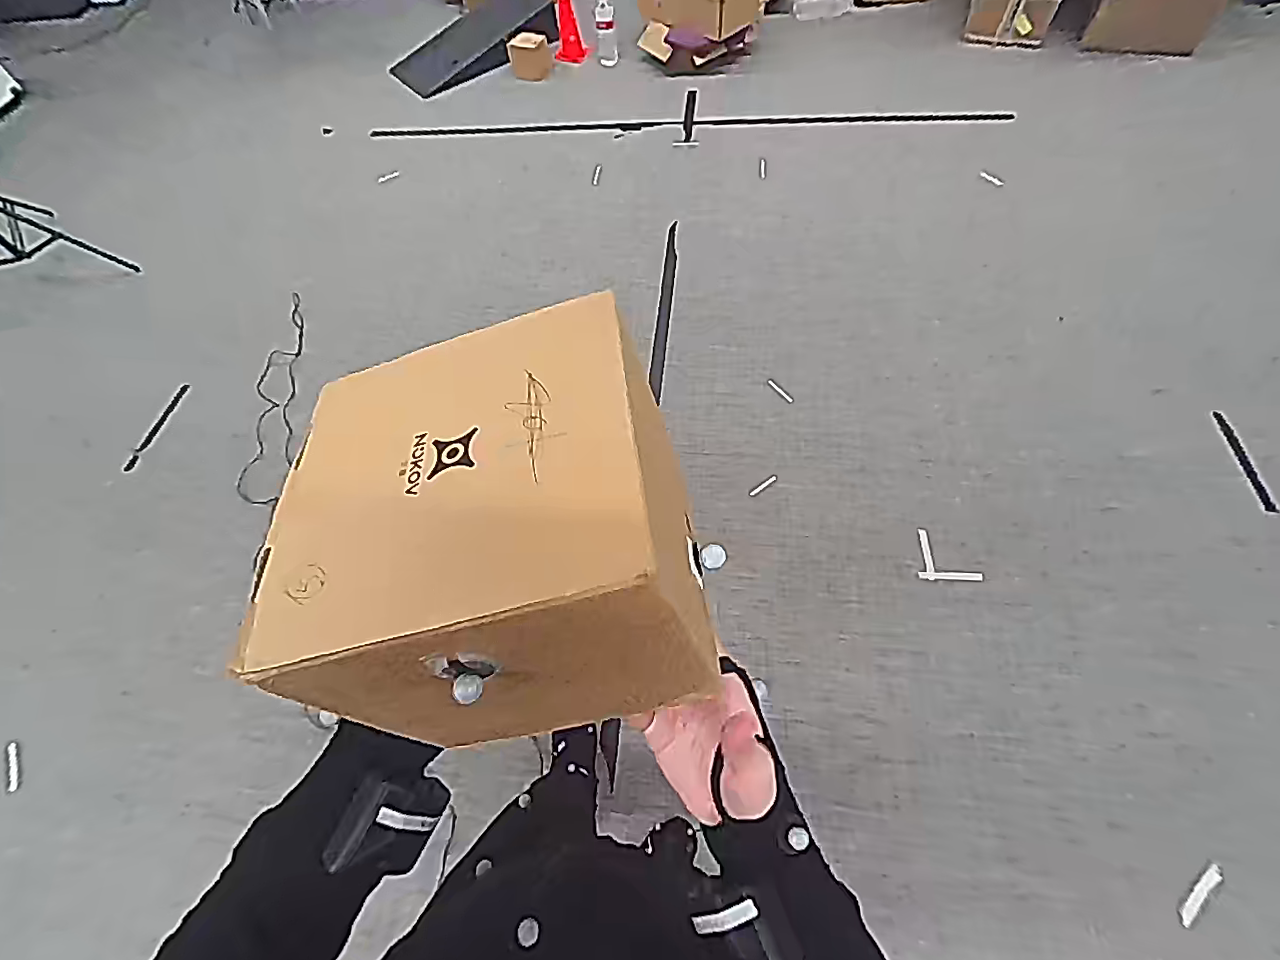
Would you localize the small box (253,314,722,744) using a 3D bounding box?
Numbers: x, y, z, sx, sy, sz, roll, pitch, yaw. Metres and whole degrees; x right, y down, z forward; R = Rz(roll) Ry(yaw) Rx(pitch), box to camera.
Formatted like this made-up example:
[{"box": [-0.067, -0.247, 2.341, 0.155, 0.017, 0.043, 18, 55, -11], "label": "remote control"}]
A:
[{"box": [-0.064, 0.042, 0.318, 0.179, 0.176, 0.168, -16, 53, 8], "label": "small box"}]
